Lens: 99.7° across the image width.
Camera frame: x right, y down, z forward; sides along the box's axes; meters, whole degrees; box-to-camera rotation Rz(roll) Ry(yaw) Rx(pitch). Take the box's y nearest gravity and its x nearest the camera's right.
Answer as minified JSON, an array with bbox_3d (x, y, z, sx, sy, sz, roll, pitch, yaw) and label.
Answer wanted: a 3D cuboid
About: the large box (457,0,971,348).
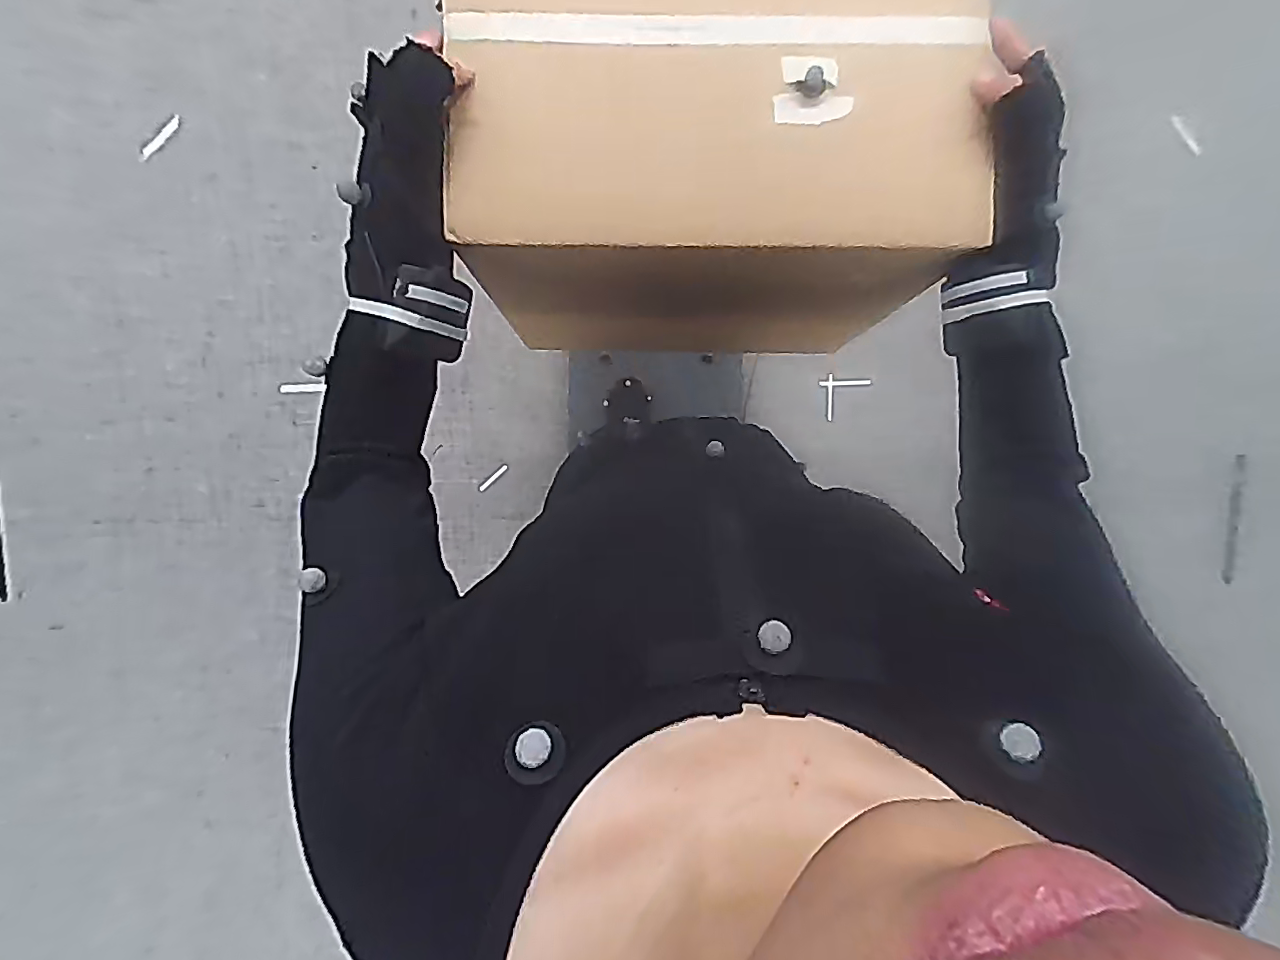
[{"bbox_3d":[0.052,-0.333,0.568,0.408,0.320,0.320,0,89,-1],"label":"large box"}]
